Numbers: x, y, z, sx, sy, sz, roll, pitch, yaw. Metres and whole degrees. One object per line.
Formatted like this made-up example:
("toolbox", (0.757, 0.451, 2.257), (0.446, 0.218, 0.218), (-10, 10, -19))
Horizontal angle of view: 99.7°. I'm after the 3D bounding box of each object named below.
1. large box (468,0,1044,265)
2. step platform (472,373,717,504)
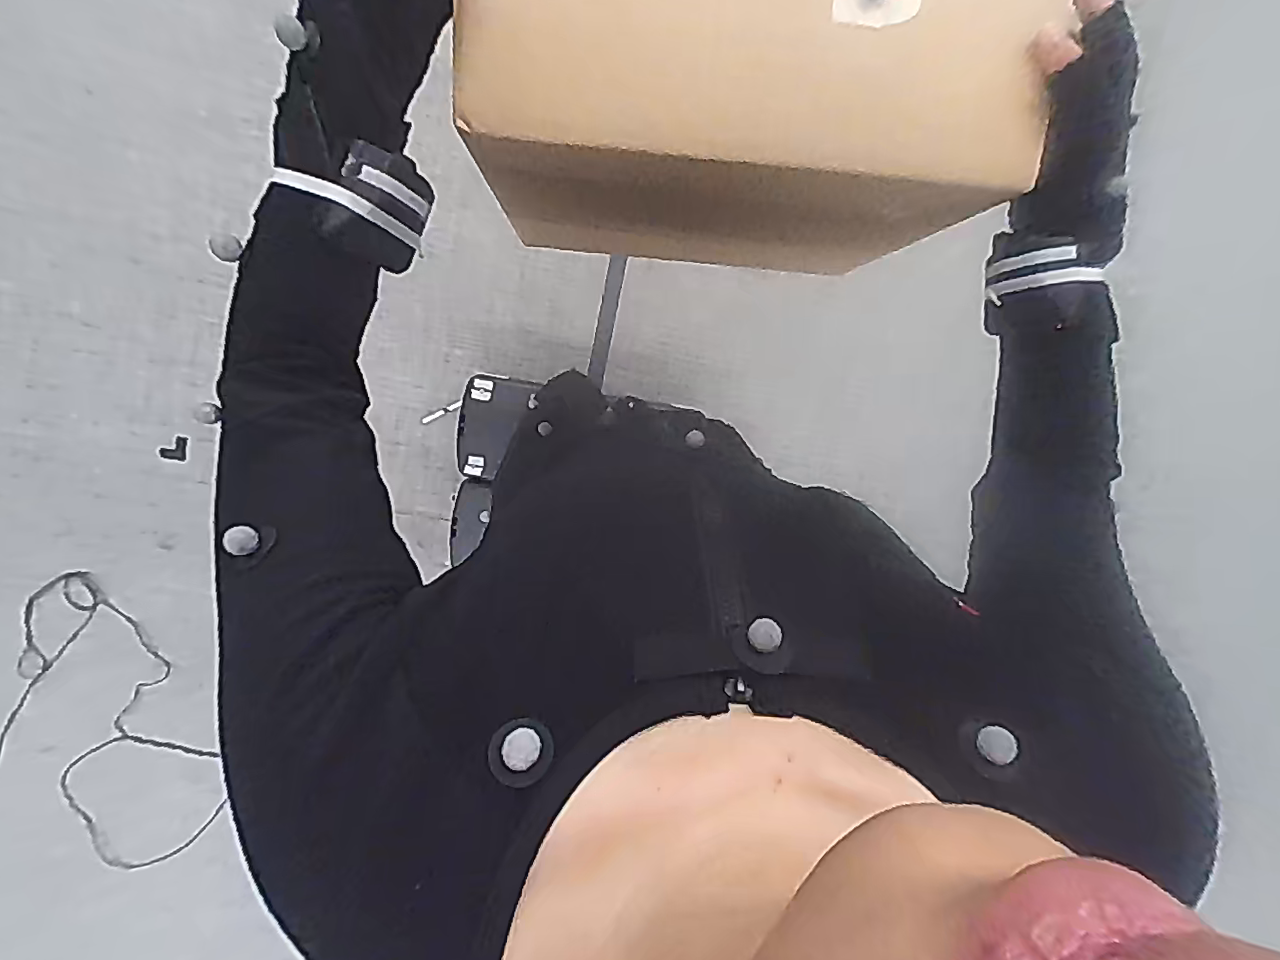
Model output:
("large box", (0.074, -0.405, 0.503), (0.408, 0.320, 0.320), (3, 101, -5))
("step platform", (-0.126, -0.117, 1.554), (0.684, 0.204, 0.286), (8, 97, -7))
